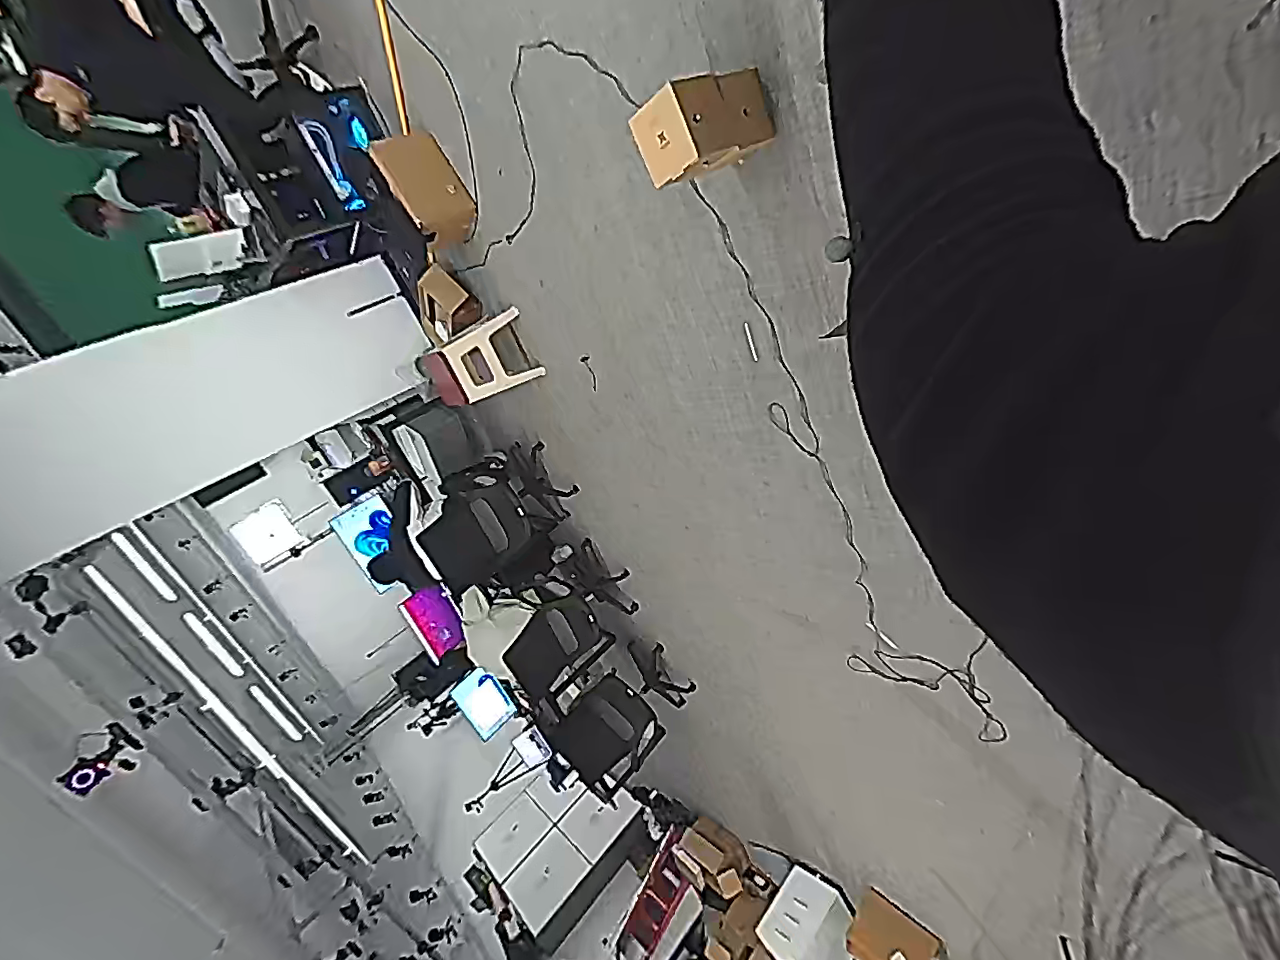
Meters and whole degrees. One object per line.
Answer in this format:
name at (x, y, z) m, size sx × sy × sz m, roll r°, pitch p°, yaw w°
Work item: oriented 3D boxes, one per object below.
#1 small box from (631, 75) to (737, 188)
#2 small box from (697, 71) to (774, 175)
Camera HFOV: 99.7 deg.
small box at (0.114, -0.877, 1.361) m, size 0.168 × 0.176 × 0.179 m, roll -4°, pitch 117°, yaw 53°
small box at (0.228, -0.957, 1.445) m, size 0.168 × 0.176 × 0.179 m, roll 1°, pitch 123°, yaw 53°
